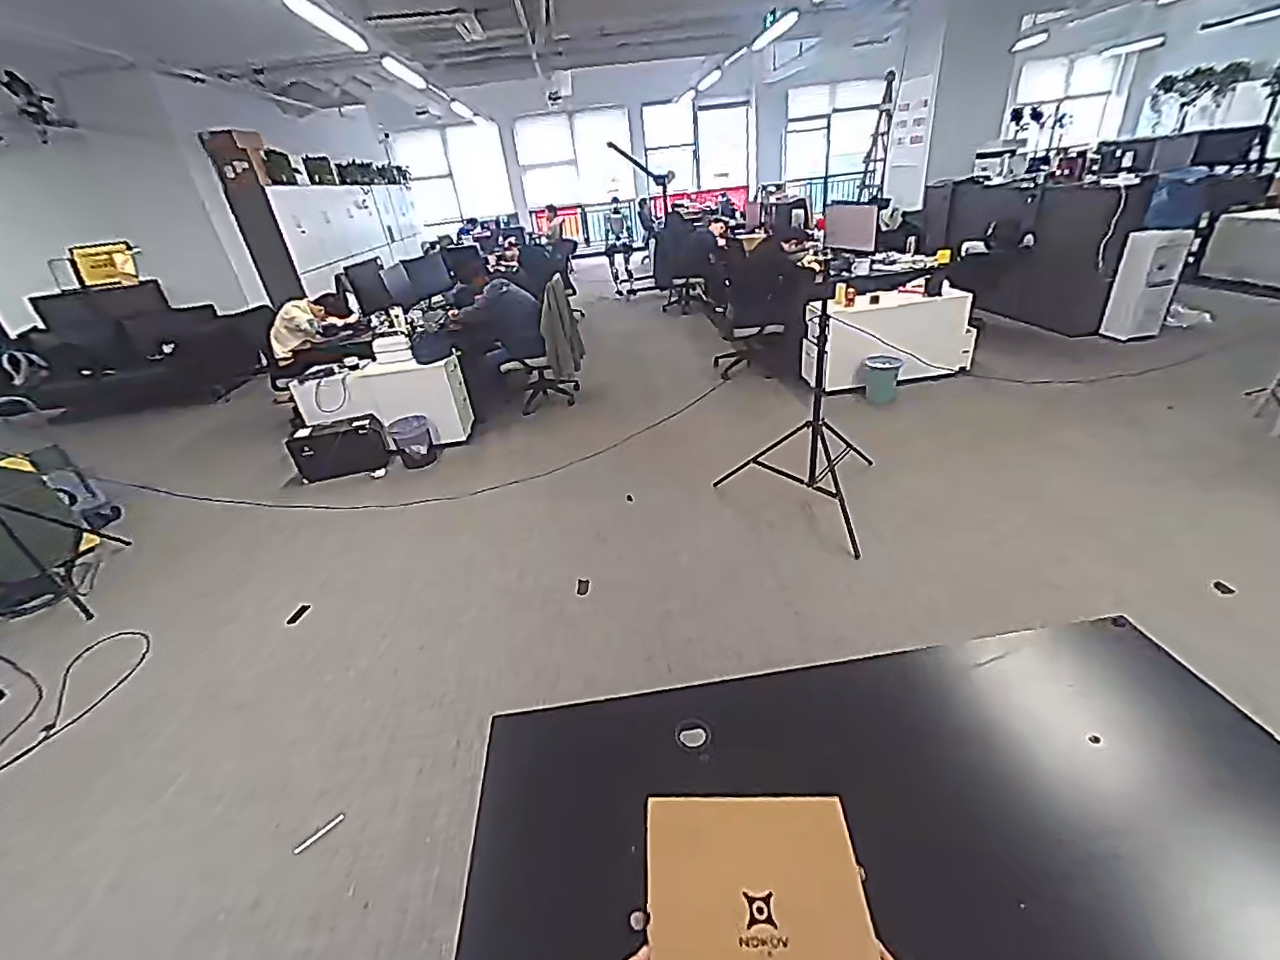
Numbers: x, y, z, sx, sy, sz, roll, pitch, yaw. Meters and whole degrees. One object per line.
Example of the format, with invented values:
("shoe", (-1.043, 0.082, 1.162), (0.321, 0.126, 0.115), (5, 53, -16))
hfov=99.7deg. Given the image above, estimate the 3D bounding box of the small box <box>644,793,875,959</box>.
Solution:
("small box", (0.087, 0.392, 0.452), (0.168, 0.176, 0.179), (0, 39, 1))
